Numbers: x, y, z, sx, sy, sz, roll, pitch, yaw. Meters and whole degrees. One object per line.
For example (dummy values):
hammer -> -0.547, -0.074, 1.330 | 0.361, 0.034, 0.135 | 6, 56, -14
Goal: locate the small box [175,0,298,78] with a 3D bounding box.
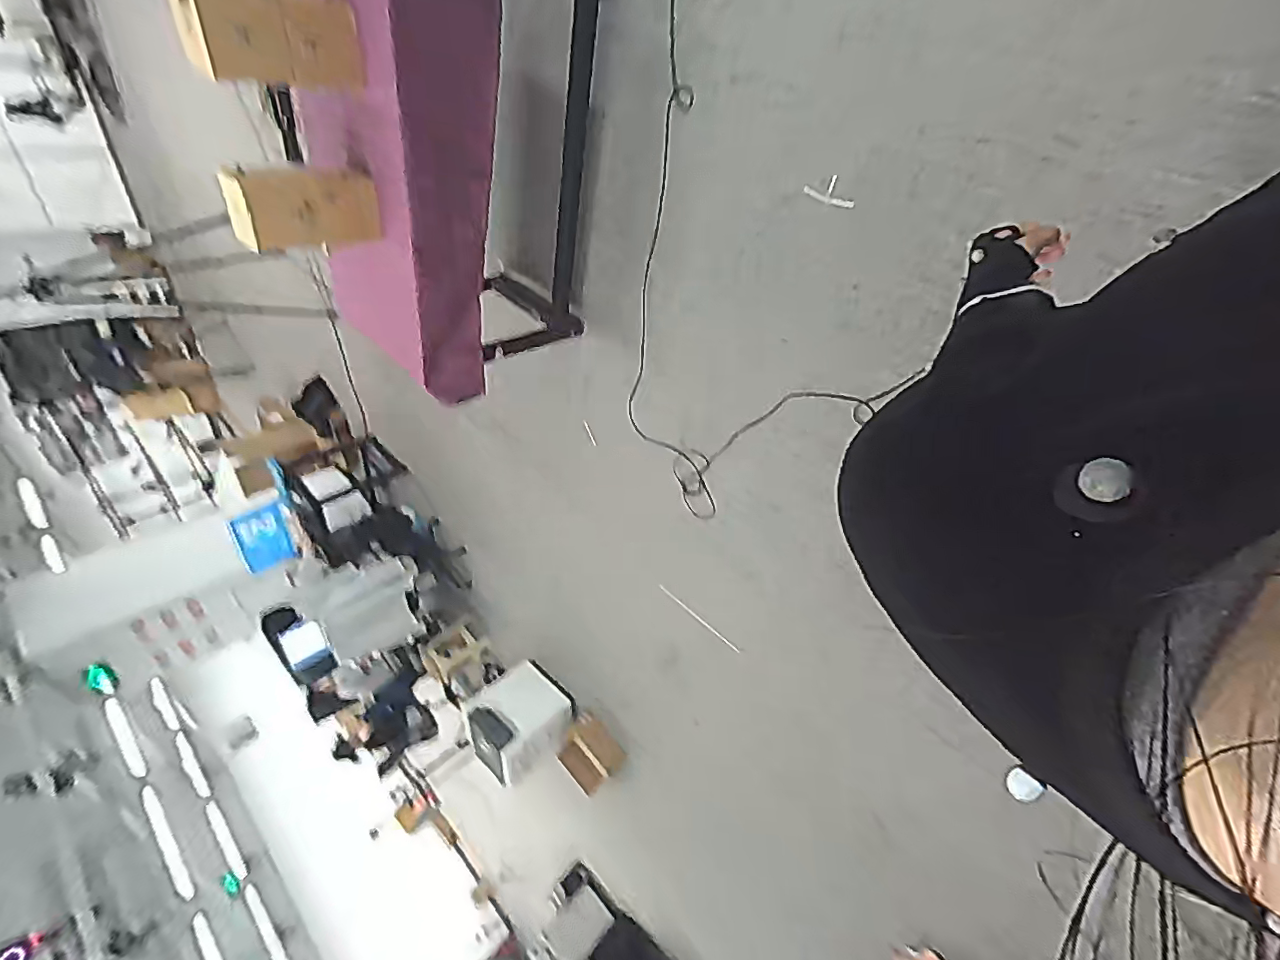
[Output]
small box -> -0.892, -1.018, 1.194 | 0.168, 0.176, 0.179 | 38, 137, 25

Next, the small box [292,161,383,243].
small box -> -0.861, -0.803, 1.556 | 0.168, 0.176, 0.179 | 35, 134, 29

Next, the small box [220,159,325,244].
small box -> -0.980, -0.750, 1.453 | 0.179, 0.176, 0.168 | 35, 134, 29

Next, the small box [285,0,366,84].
small box -> -0.783, -1.079, 1.300 | 0.168, 0.176, 0.179 | 38, 135, 25
